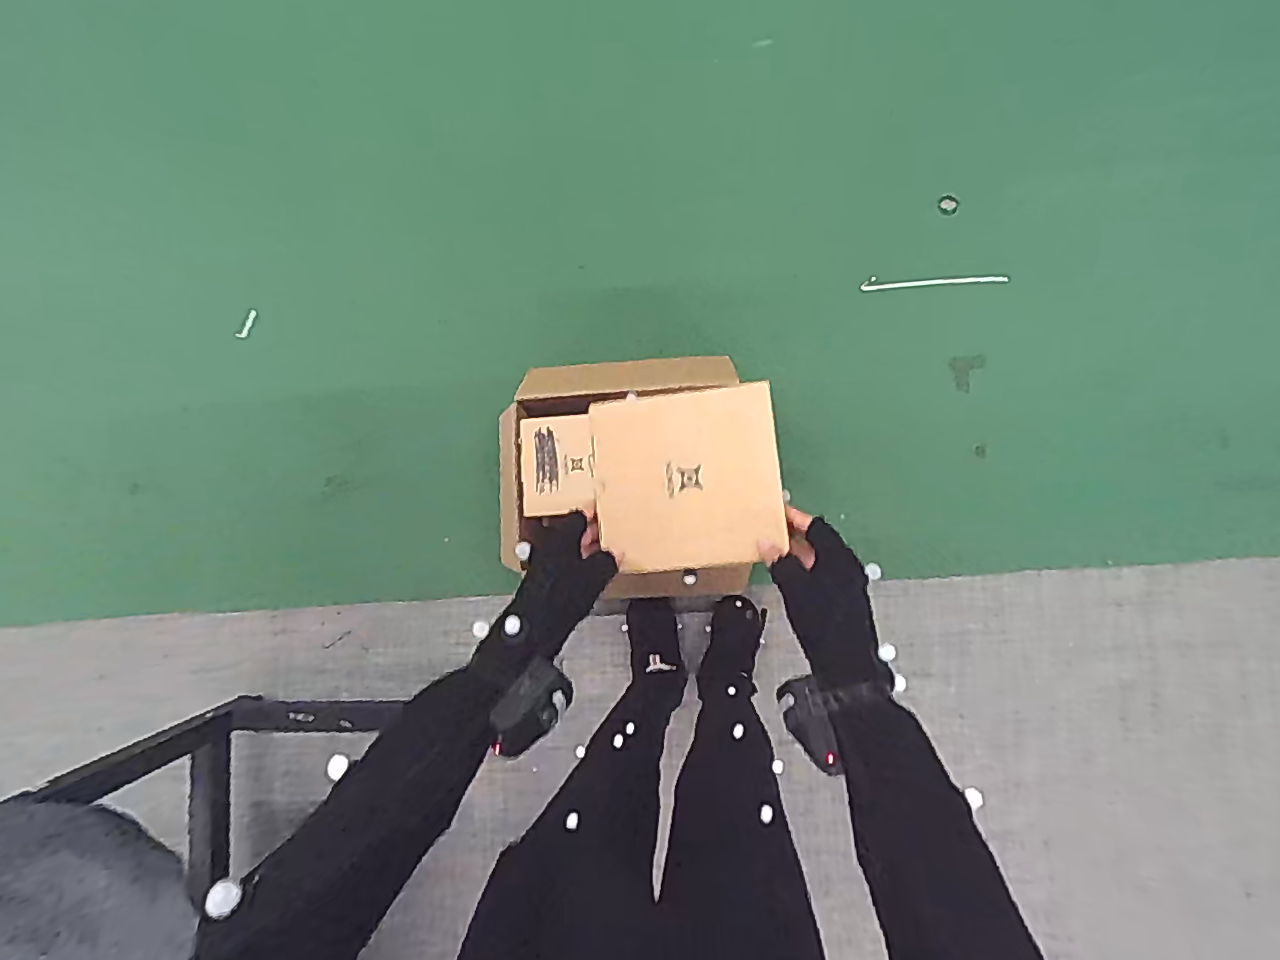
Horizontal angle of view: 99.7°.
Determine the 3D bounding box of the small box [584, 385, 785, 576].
[{"bbox_3d":[0.051,0.008,0.587,0.179,0.176,0.168,-8,83,10],"label":"small box"}]
